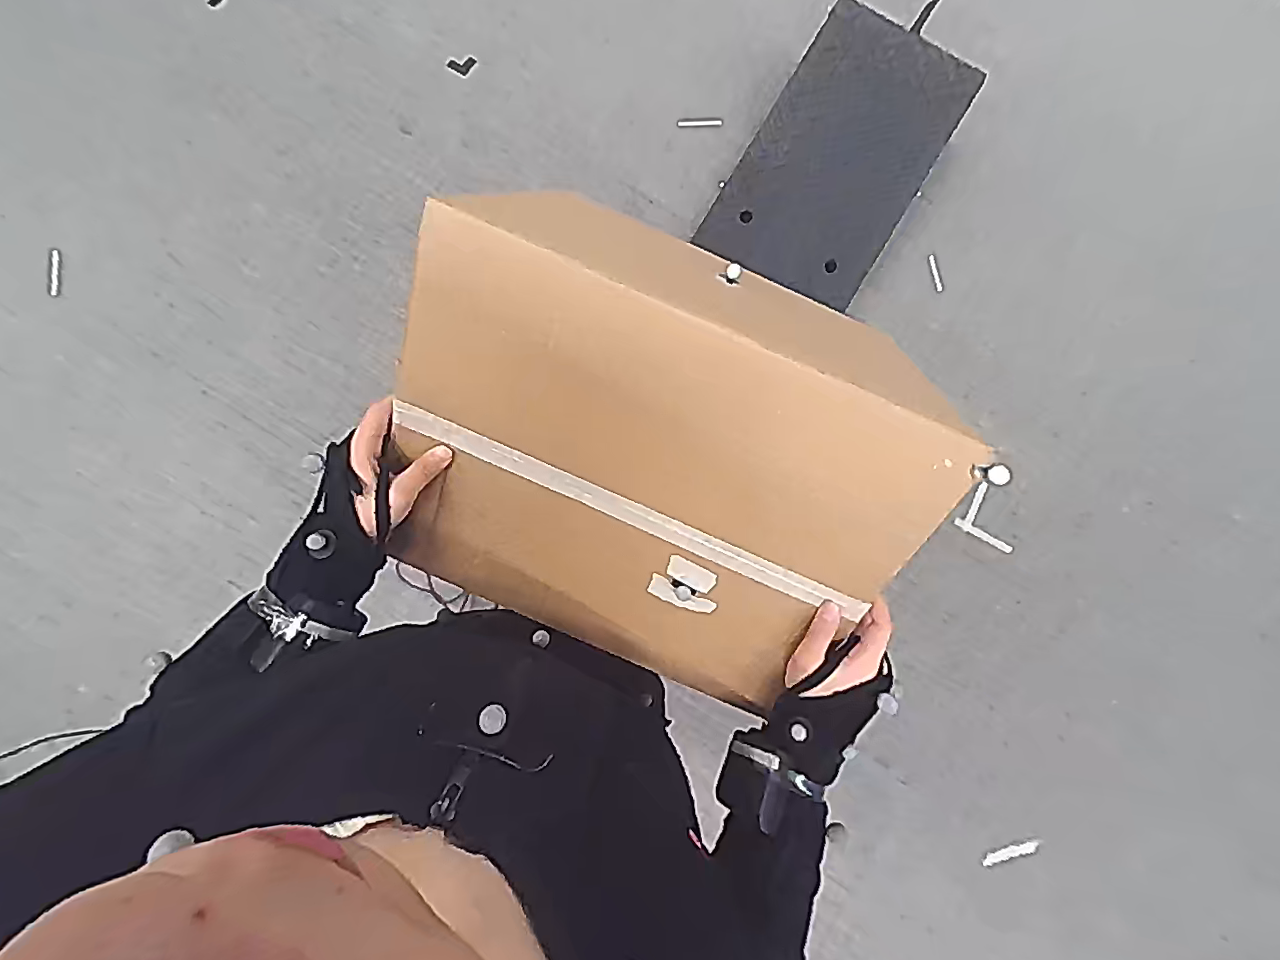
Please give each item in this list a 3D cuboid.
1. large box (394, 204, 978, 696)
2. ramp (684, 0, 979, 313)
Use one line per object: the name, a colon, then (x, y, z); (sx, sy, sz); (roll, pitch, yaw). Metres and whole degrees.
large box: (0.023, -0.055, 0.568); (0.408, 0.320, 0.320); (23, 122, -2)
ramp: (0.529, -0.873, 1.580); (0.509, 0.206, 0.991); (30, 80, 0)
